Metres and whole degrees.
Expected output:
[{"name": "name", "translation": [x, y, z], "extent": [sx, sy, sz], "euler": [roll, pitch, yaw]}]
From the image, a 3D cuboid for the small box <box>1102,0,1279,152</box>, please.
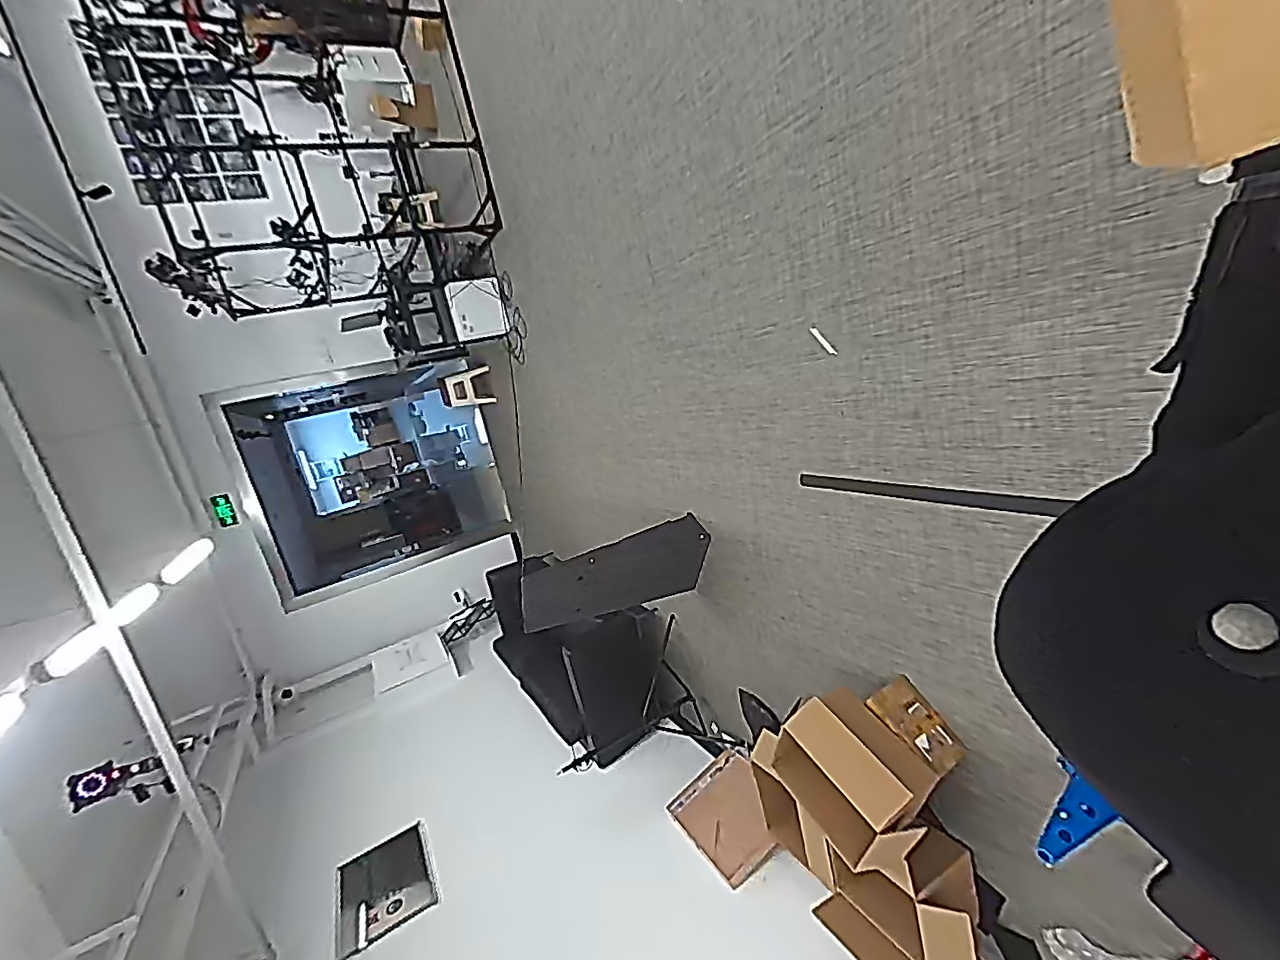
[{"name": "small box", "translation": [0.276, -0.244, 0.191], "extent": [0.168, 0.176, 0.179], "euler": [-12, 109, 40]}]
